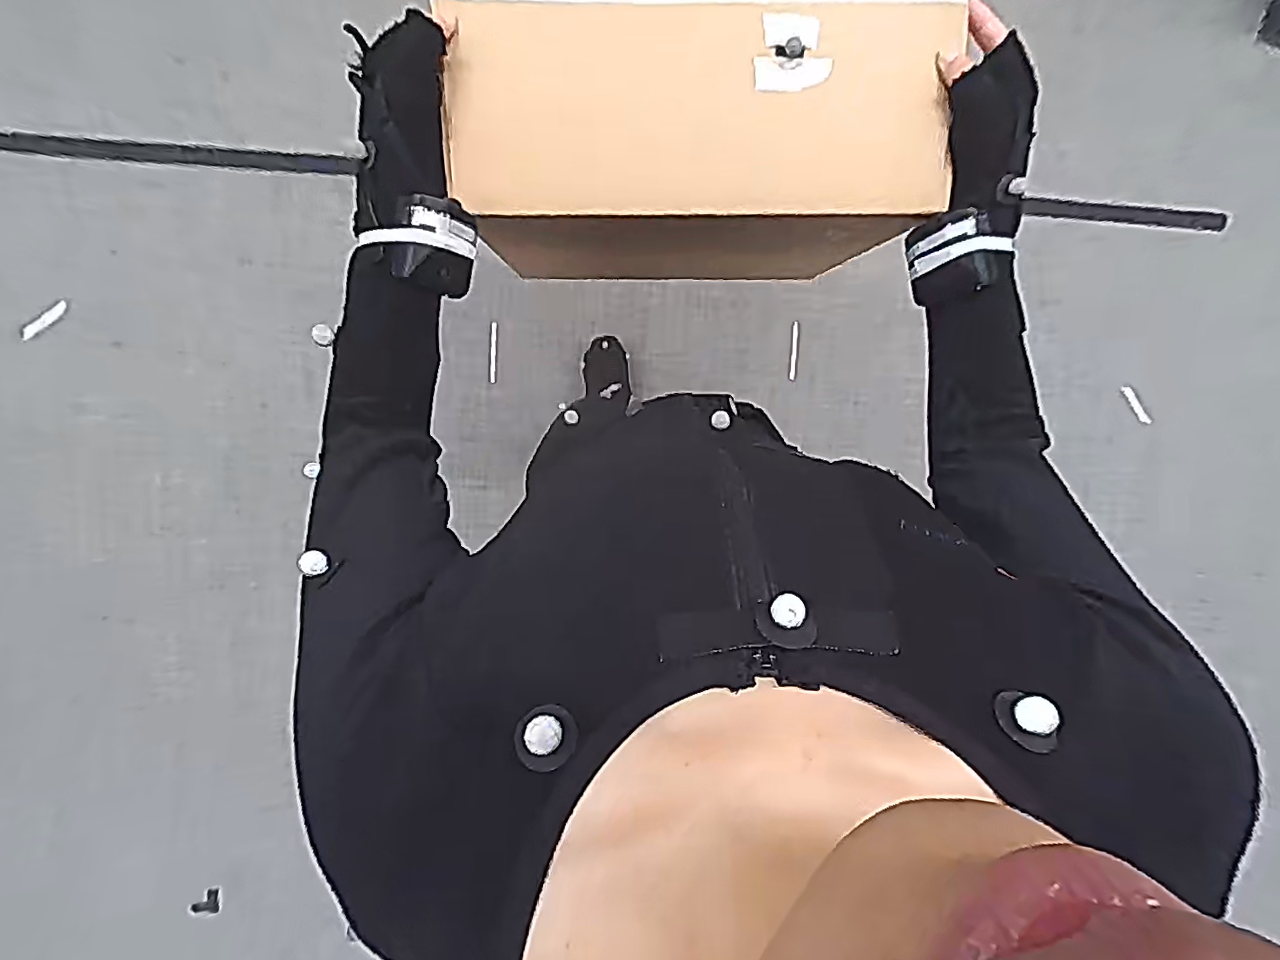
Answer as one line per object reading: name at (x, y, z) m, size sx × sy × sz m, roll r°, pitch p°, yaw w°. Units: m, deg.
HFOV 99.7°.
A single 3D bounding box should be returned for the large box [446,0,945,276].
large box at (0.038, -0.407, 0.570) m, size 0.408 × 0.320 × 0.320 m, roll -1°, pitch 102°, yaw -3°
